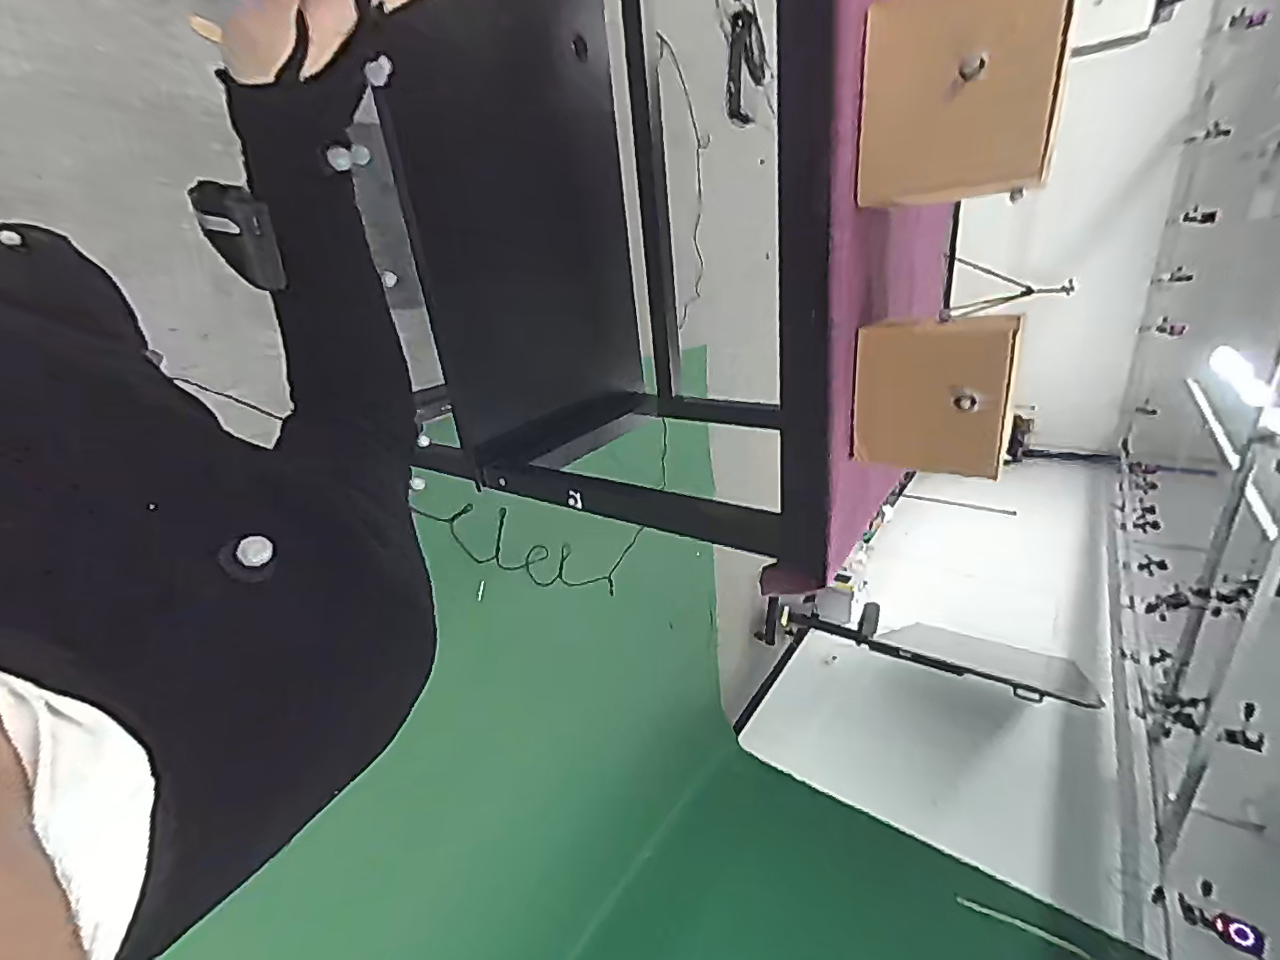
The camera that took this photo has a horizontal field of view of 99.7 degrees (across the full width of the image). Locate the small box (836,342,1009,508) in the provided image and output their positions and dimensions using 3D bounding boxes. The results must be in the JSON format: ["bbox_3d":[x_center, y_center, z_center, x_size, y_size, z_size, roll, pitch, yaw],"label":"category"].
[{"bbox_3d":[0.361,-0.082,0.698,0.168,0.176,0.179,-27,120,-50],"label":"small box"}]

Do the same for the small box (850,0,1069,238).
[{"bbox_3d":[0.330,-0.362,0.571,0.168,0.176,0.179,-29,122,-48],"label":"small box"}]
